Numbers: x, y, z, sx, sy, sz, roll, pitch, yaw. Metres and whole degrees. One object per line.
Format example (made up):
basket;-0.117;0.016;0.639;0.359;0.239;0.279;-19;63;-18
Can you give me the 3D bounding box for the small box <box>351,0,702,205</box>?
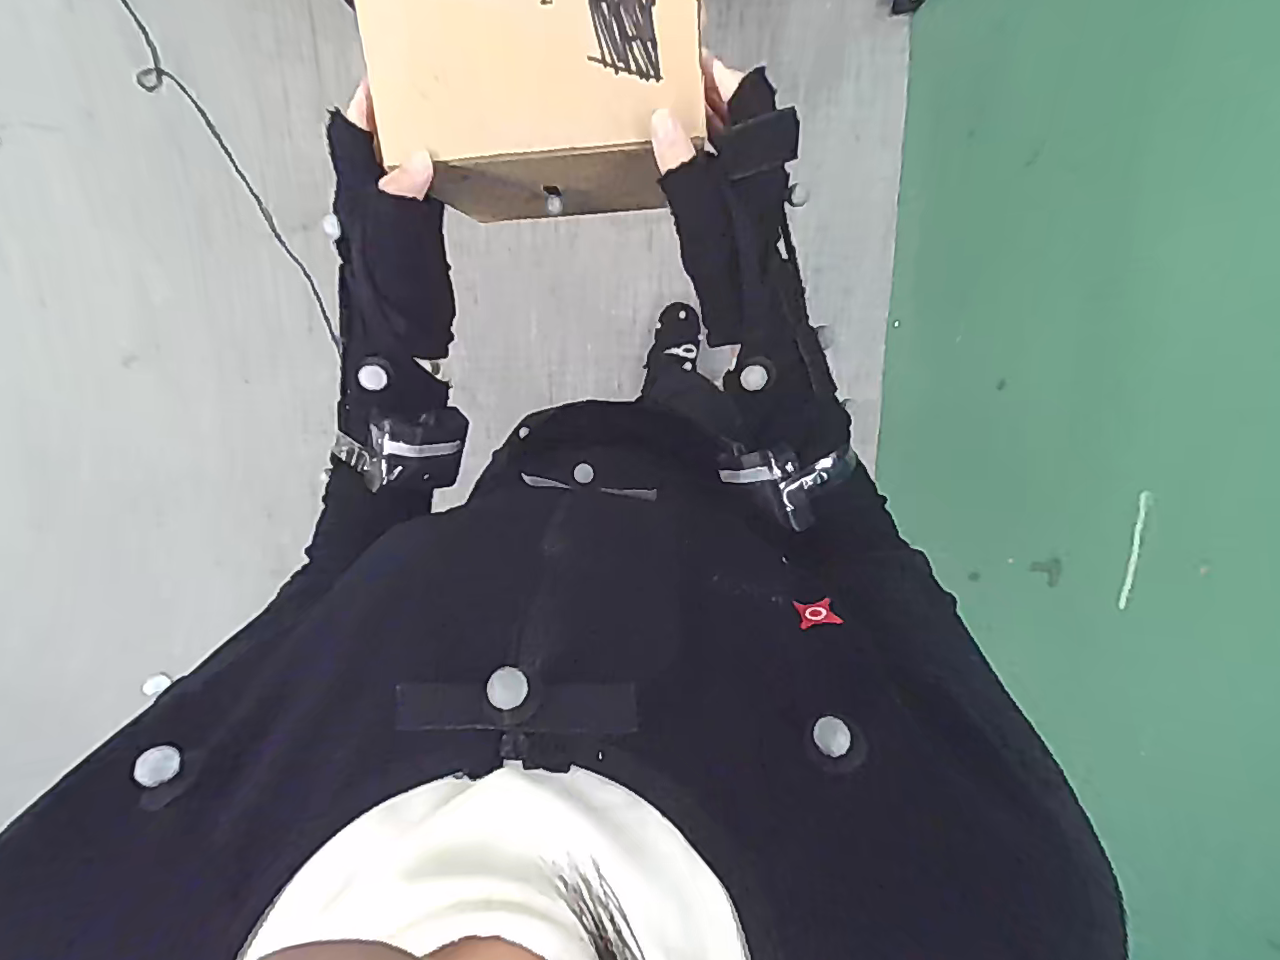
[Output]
small box;-0.057;-0.282;0.339;0.179;0.176;0.168;-3;107;4
